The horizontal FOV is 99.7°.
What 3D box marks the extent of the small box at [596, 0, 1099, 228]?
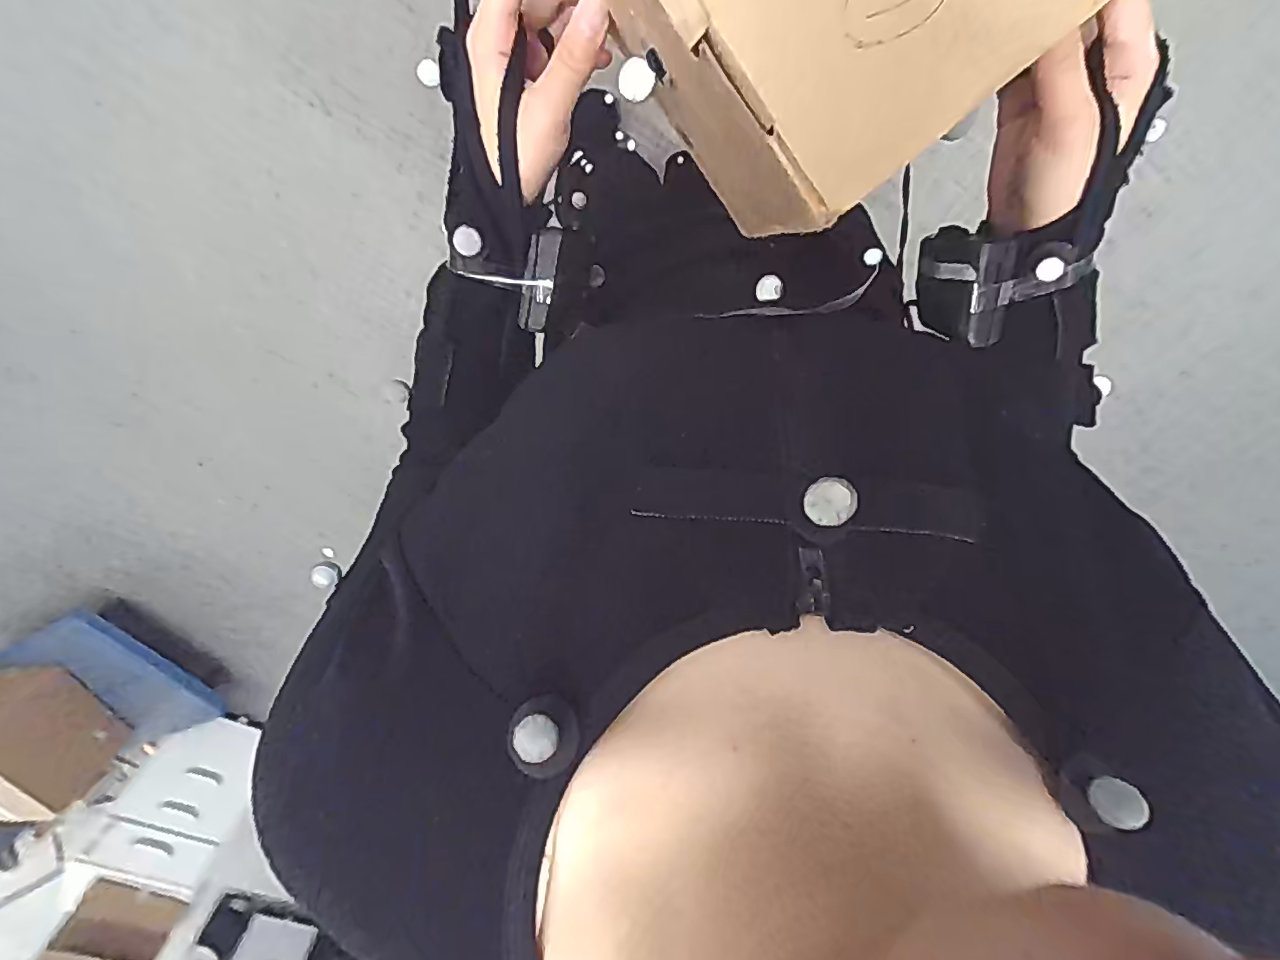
[{"bbox_3d":[0.072,-0.210,0.187,0.179,0.176,0.168,-35,106,17],"label":"small box"}]
